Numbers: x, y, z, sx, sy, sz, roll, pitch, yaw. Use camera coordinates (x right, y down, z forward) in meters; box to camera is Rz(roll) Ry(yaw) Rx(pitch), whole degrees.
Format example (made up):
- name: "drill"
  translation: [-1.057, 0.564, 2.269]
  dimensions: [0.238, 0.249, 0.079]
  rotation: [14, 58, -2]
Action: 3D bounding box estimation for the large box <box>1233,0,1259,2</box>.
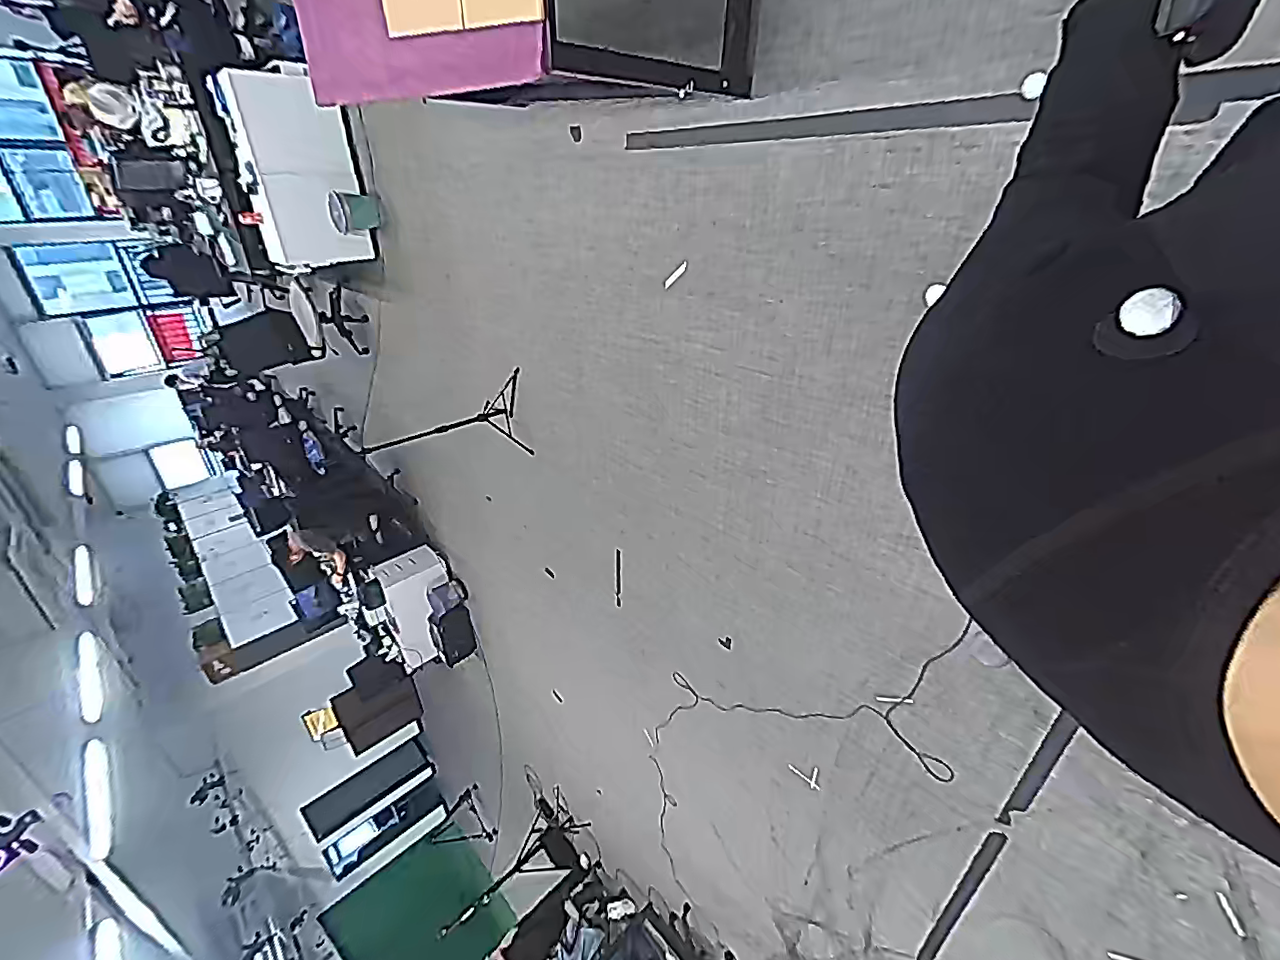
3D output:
- name: "large box"
  translation: [0.582, -0.457, 0.227]
  dimensions: [0.408, 0.320, 0.320]
  rotation: [22, 134, 38]
